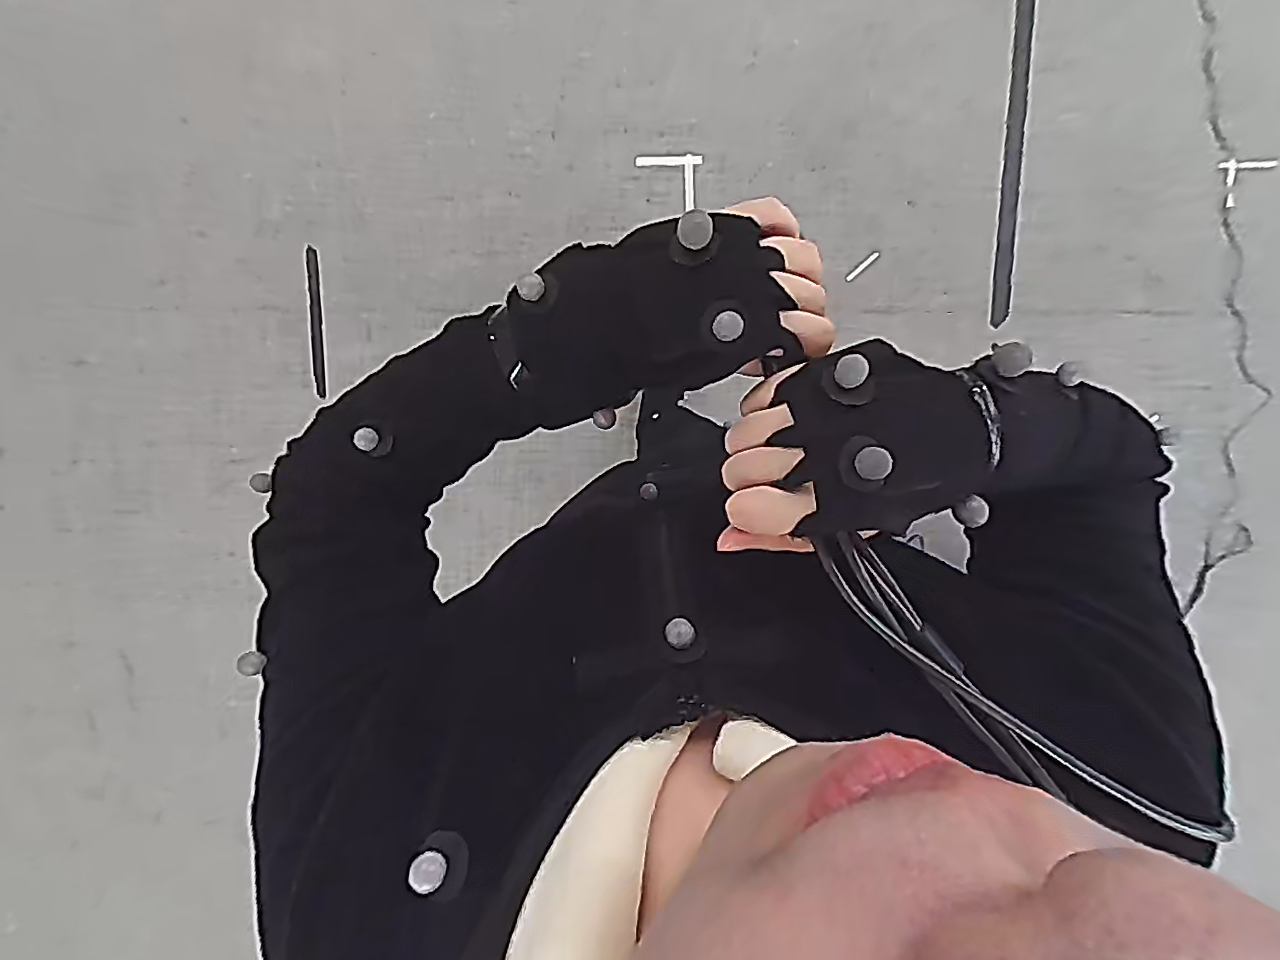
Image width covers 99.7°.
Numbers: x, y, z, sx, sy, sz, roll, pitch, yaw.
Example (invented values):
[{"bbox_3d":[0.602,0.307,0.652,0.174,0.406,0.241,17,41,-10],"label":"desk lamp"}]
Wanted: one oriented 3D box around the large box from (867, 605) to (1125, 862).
[{"bbox_3d":[0.767,0.541,1.222,0.320,0.320,0.408,12,95,-2],"label":"large box"}]
